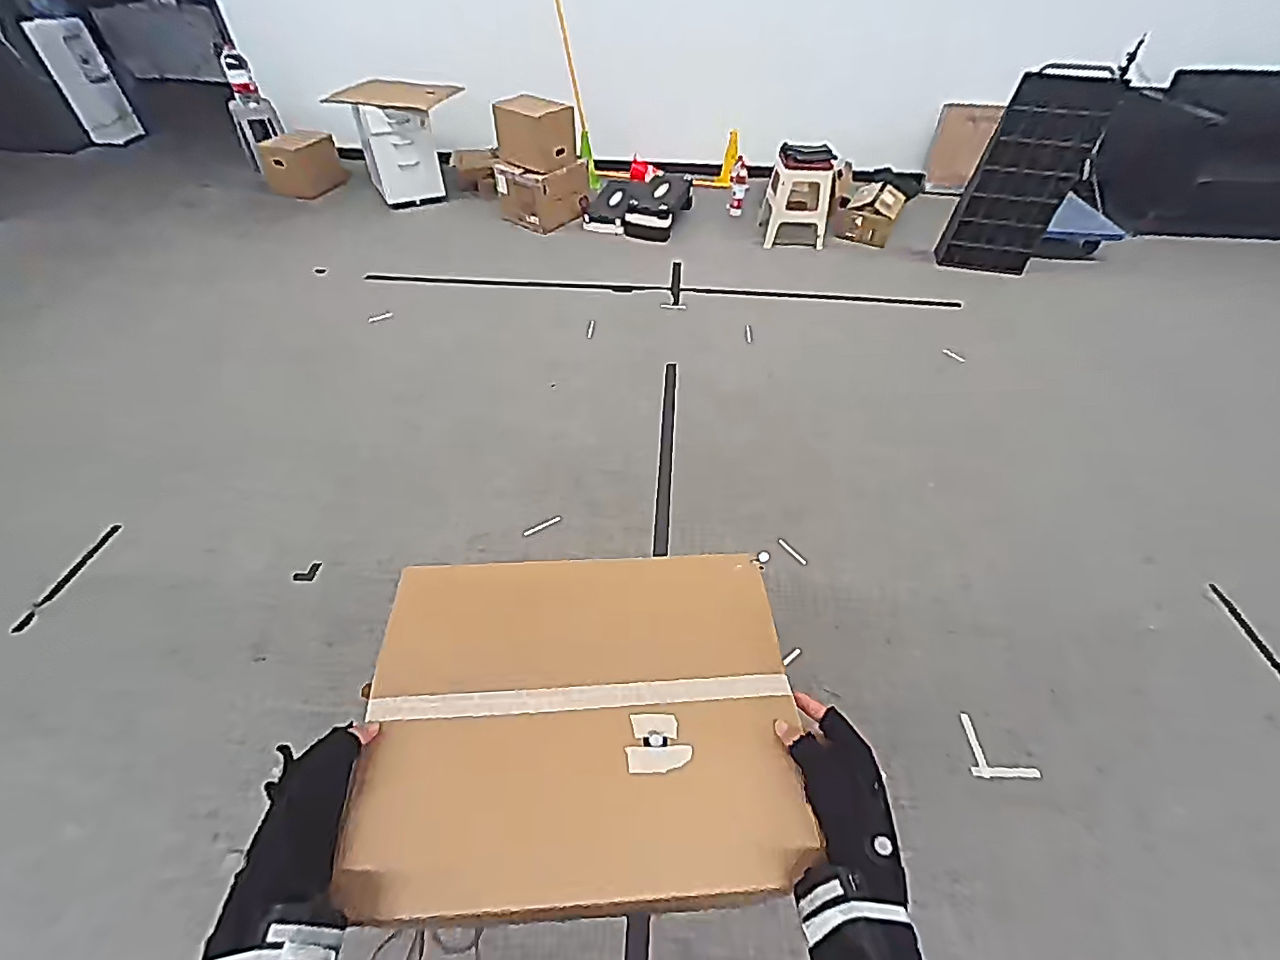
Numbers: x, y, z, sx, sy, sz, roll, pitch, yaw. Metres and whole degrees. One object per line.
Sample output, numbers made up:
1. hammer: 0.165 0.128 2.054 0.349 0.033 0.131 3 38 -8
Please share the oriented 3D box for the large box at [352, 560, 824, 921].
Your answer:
1. large box: -0.054 0.316 0.656 0.408 0.320 0.320 -1 51 -4
